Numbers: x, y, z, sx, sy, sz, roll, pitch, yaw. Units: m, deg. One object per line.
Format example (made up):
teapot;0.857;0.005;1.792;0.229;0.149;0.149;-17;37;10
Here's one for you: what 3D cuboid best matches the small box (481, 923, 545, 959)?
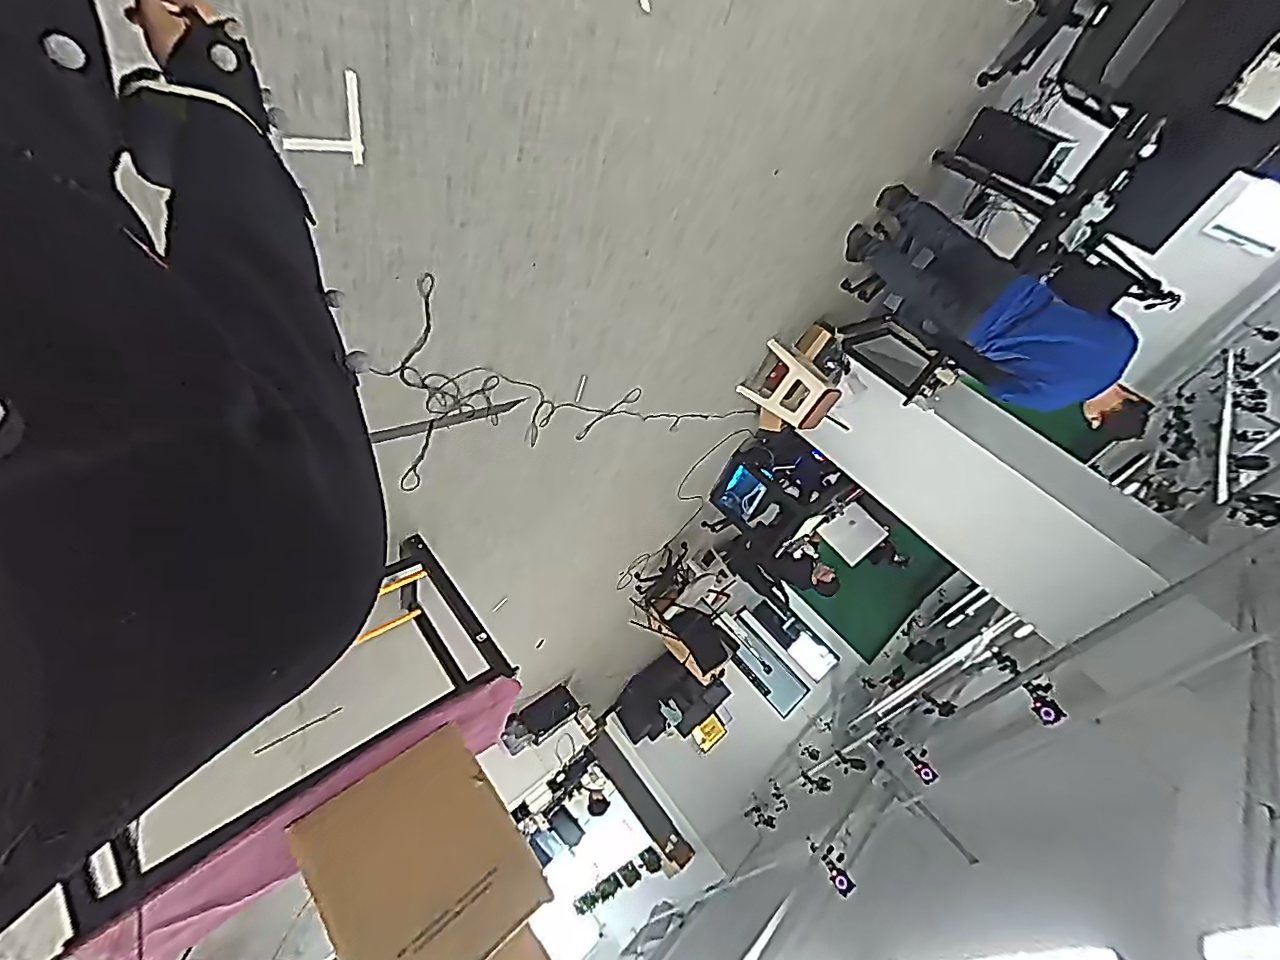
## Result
small box;-0.398;1.531;1.683;0.179;0.176;0.168;-25;150;-36
